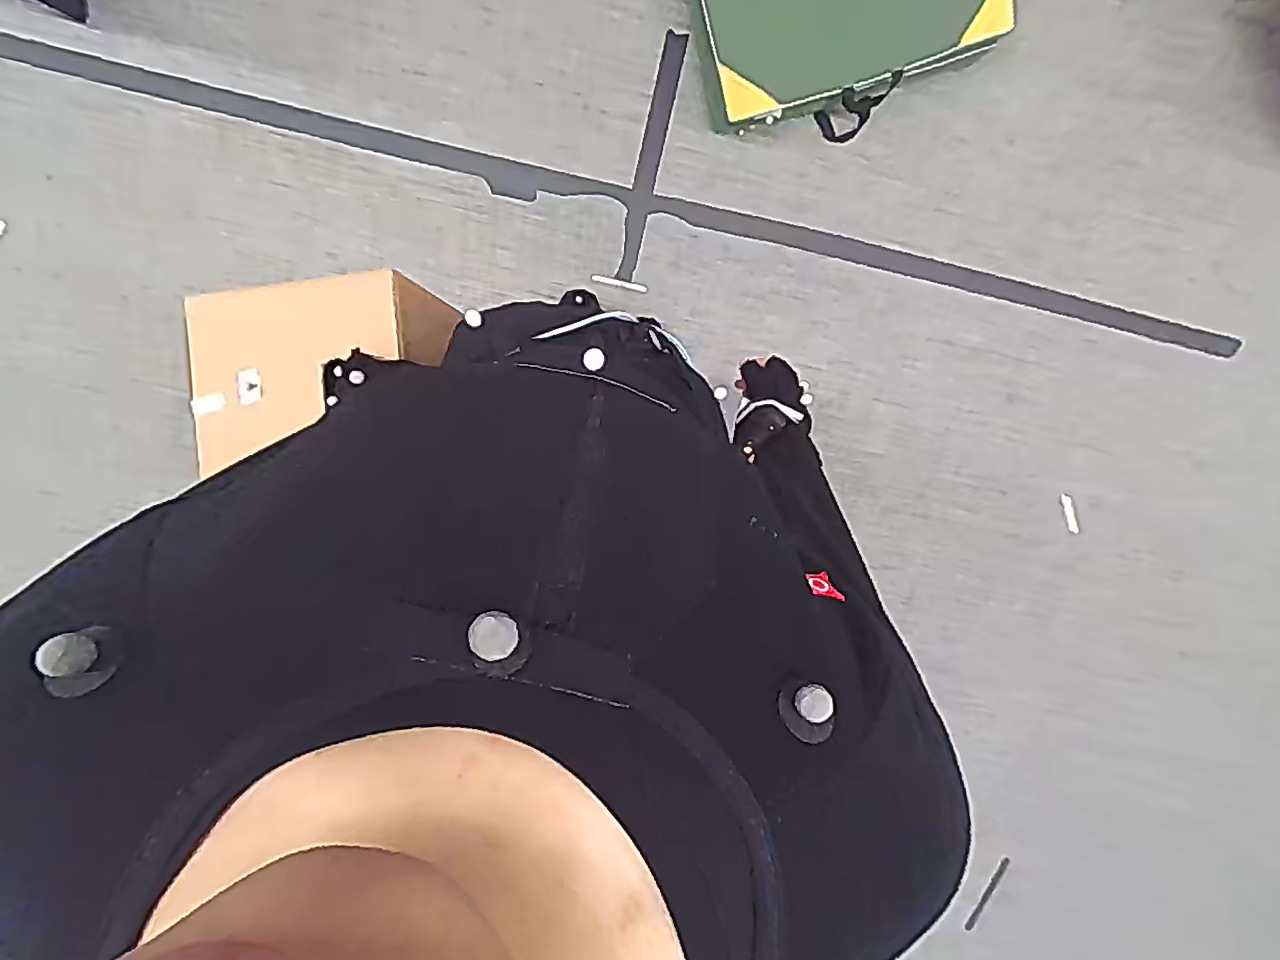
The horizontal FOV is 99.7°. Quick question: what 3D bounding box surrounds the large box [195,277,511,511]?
[{"bbox_3d":[-0.447,-0.122,0.936,0.320,0.408,0.320,-2,91,6],"label":"large box"}]
